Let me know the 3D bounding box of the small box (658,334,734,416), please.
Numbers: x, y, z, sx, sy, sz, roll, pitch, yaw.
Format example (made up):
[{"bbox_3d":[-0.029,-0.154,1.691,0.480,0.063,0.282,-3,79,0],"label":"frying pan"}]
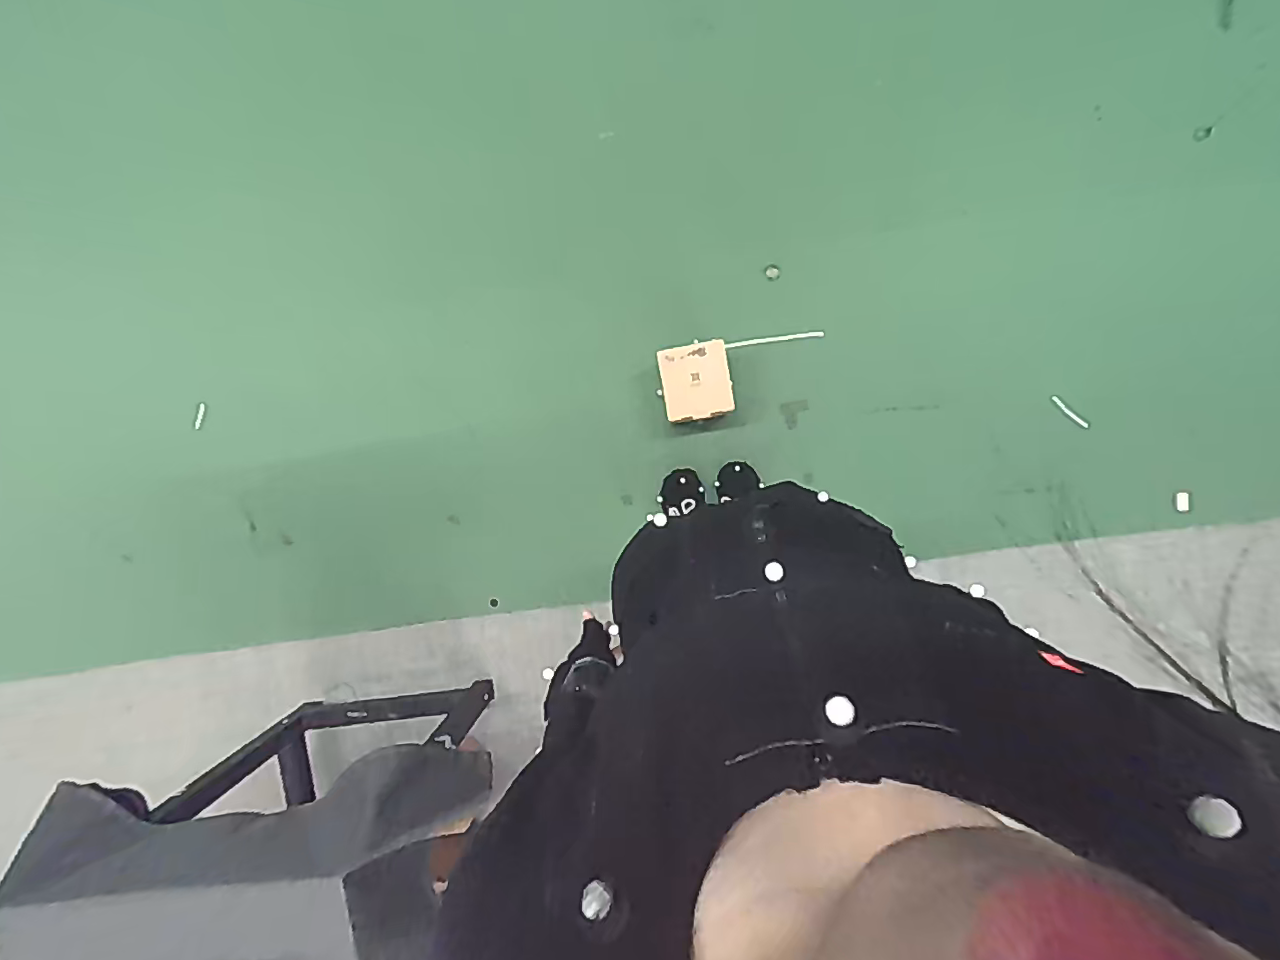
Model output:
[{"bbox_3d":[0.142,-0.261,1.379,0.168,0.176,0.179,-9,95,5],"label":"small box"}]
